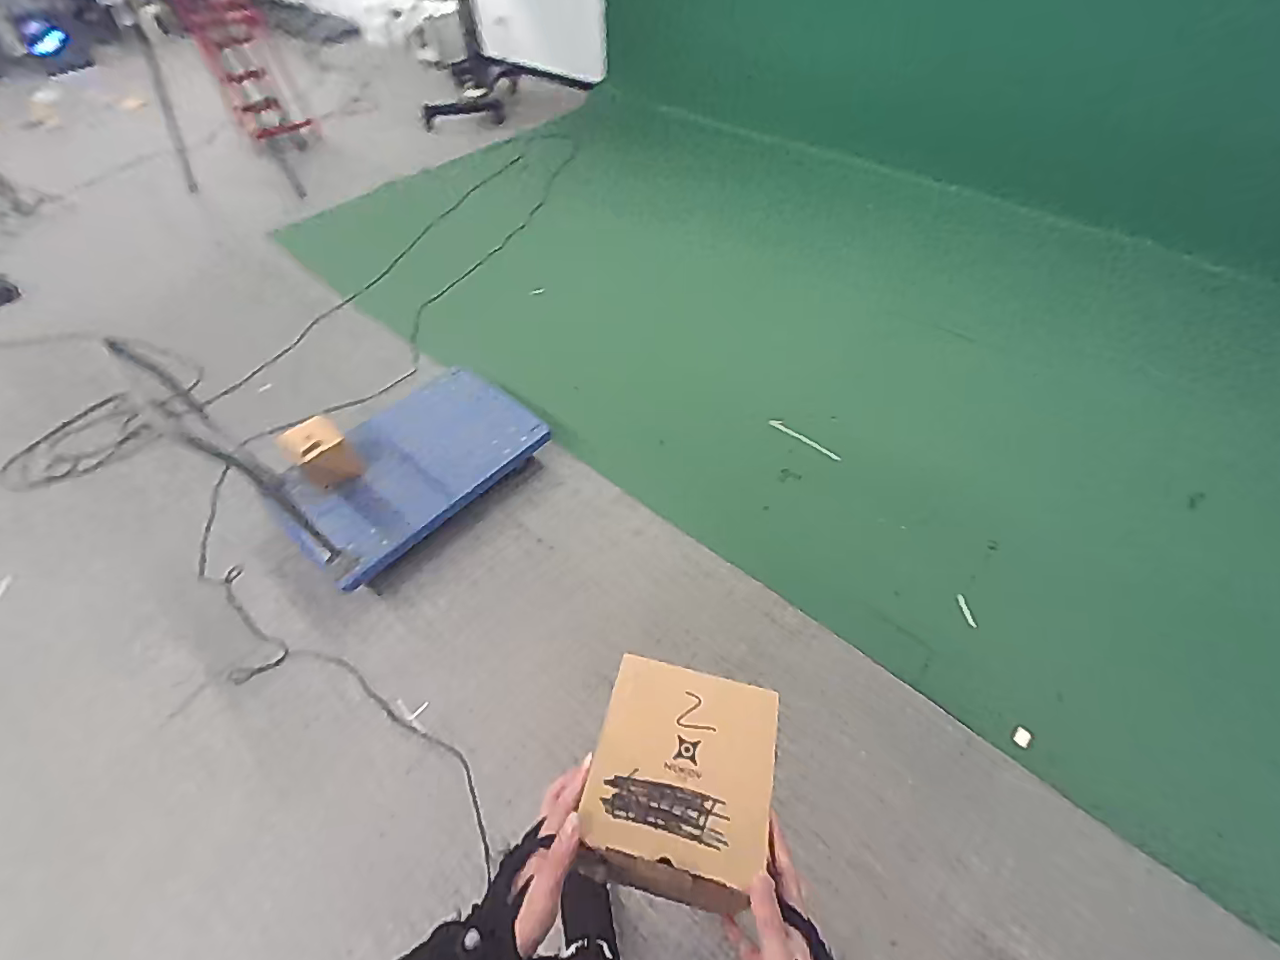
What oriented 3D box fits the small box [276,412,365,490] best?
[{"bbox_3d":[-1.064,-0.090,1.812,0.179,0.176,0.168,37,61,27],"label":"small box"}]
